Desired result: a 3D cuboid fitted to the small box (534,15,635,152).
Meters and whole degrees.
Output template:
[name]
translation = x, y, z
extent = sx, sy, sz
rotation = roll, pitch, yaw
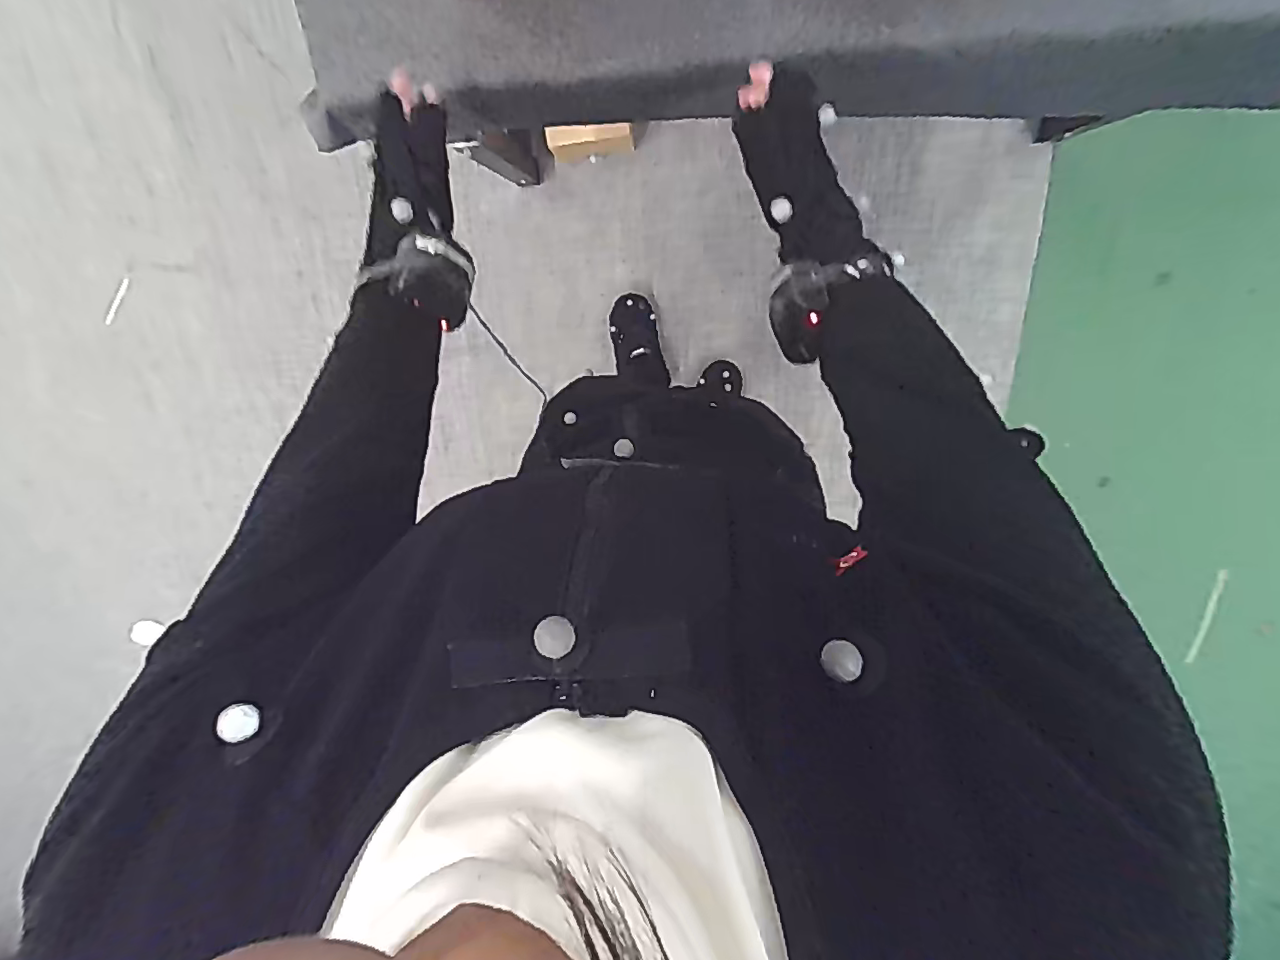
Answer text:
[small box]
translation = -0.103, -0.784, 1.088
extent = 0.168, 0.176, 0.179
rotation = -6, 112, 5
